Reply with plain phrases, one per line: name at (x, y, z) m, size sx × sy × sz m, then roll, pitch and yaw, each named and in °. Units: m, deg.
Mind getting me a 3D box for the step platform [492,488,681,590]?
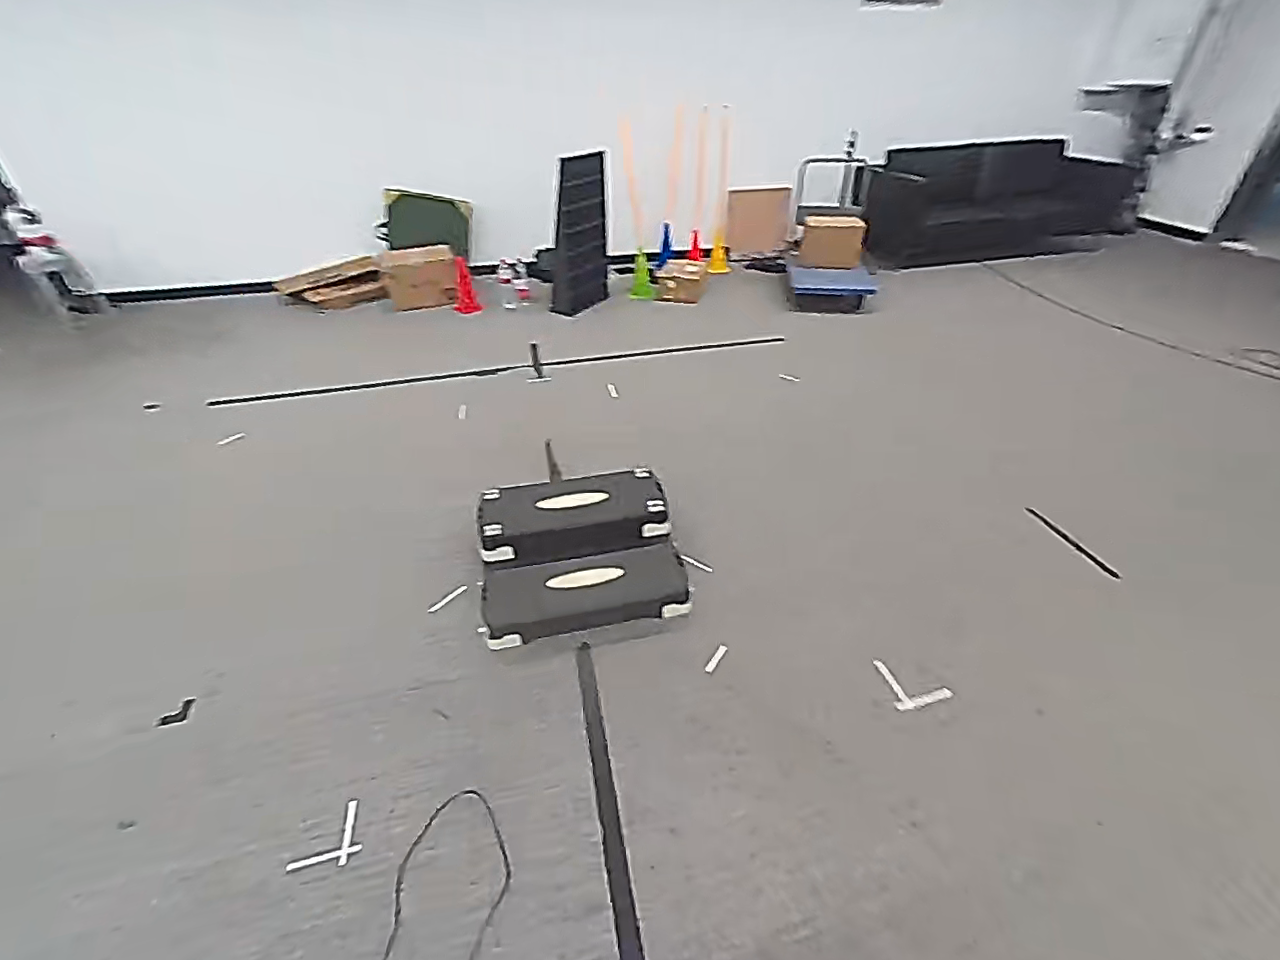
step platform at (-0.195, 0.205, 1.990) m, size 0.684 × 0.204 × 0.286 m, roll -5°, pitch 36°, yaw -7°
